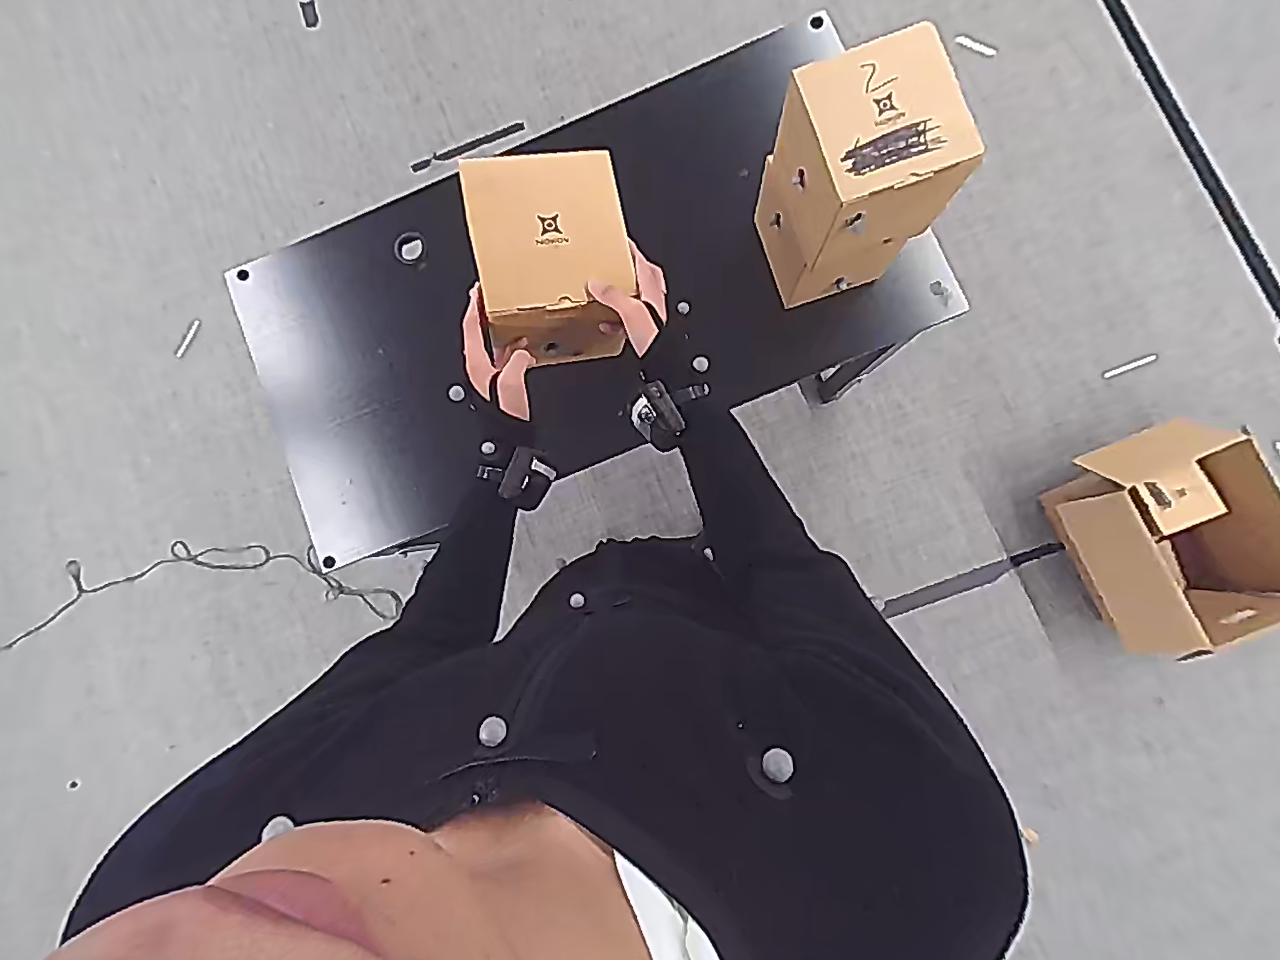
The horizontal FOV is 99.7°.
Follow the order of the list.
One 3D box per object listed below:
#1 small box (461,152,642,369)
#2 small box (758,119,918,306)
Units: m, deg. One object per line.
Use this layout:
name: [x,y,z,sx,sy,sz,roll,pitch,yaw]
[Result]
small box: [-0.109,-0.251,0.644,0.168,0.176,0.179,-11,84,-13]
small box: [0.293,-0.404,0.843,0.168,0.176,0.179,-17,85,4]
